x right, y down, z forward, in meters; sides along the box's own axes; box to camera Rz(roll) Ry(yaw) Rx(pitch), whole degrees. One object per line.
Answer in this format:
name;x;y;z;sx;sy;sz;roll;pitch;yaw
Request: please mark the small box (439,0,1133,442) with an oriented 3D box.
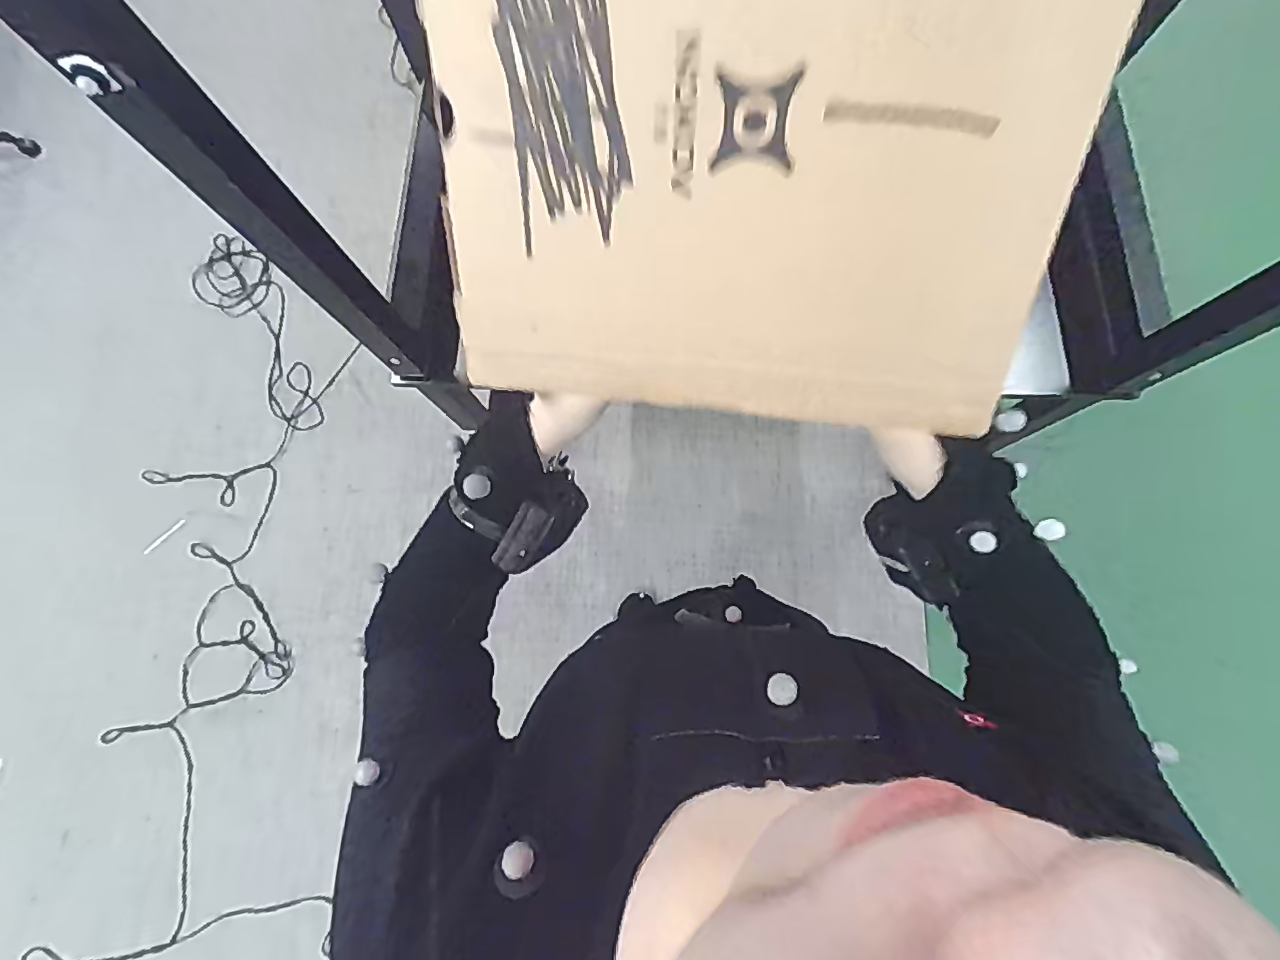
small box;0.046;-0.132;0.219;0.179;0.176;0.168;8;120;12
